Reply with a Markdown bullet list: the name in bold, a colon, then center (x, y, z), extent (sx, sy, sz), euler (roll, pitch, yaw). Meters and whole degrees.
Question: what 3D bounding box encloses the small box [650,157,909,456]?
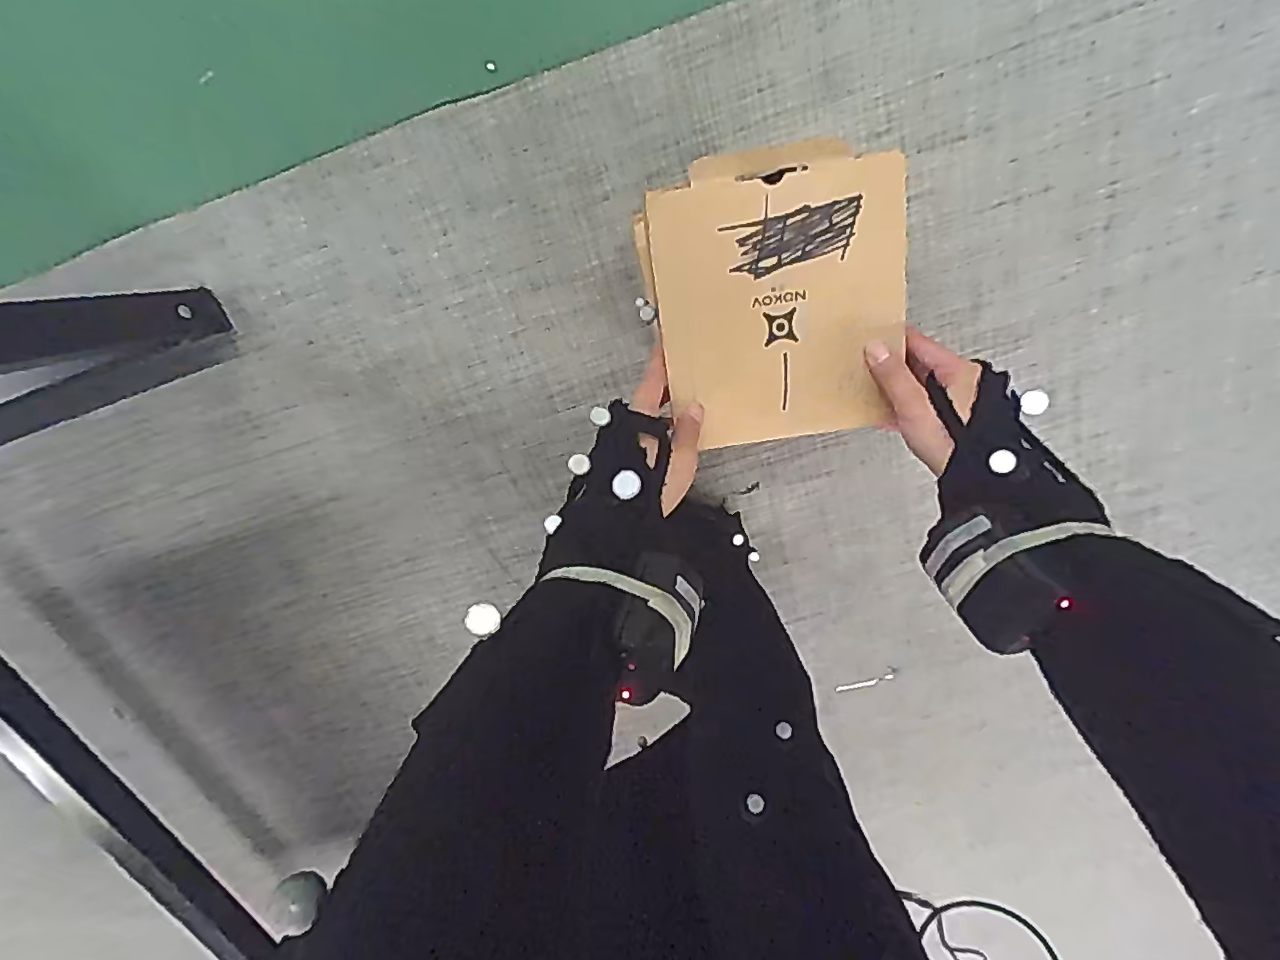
- **small box**: center (0.099, -0.132, 0.443), extent (0.168, 0.176, 0.179), euler (-8, 107, 4)
